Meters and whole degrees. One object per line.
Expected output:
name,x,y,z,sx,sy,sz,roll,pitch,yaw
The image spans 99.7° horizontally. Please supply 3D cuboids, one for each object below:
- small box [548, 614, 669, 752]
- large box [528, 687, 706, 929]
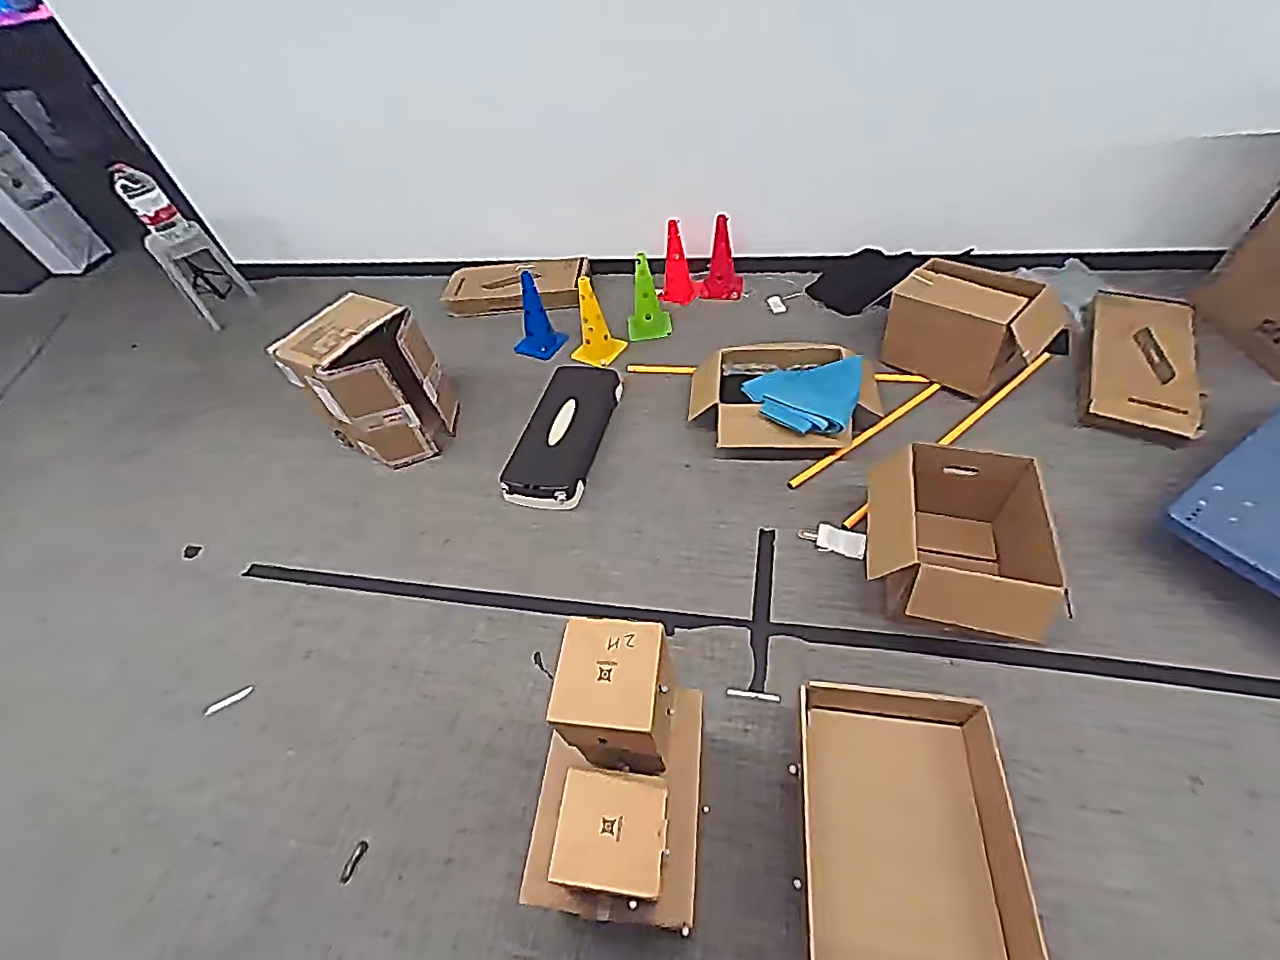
small box,-0.042,0.350,0.925,0.168,0.176,0.179,2,52,9
large box,-0.017,0.693,1.171,0.320,0.320,0.408,1,51,10
